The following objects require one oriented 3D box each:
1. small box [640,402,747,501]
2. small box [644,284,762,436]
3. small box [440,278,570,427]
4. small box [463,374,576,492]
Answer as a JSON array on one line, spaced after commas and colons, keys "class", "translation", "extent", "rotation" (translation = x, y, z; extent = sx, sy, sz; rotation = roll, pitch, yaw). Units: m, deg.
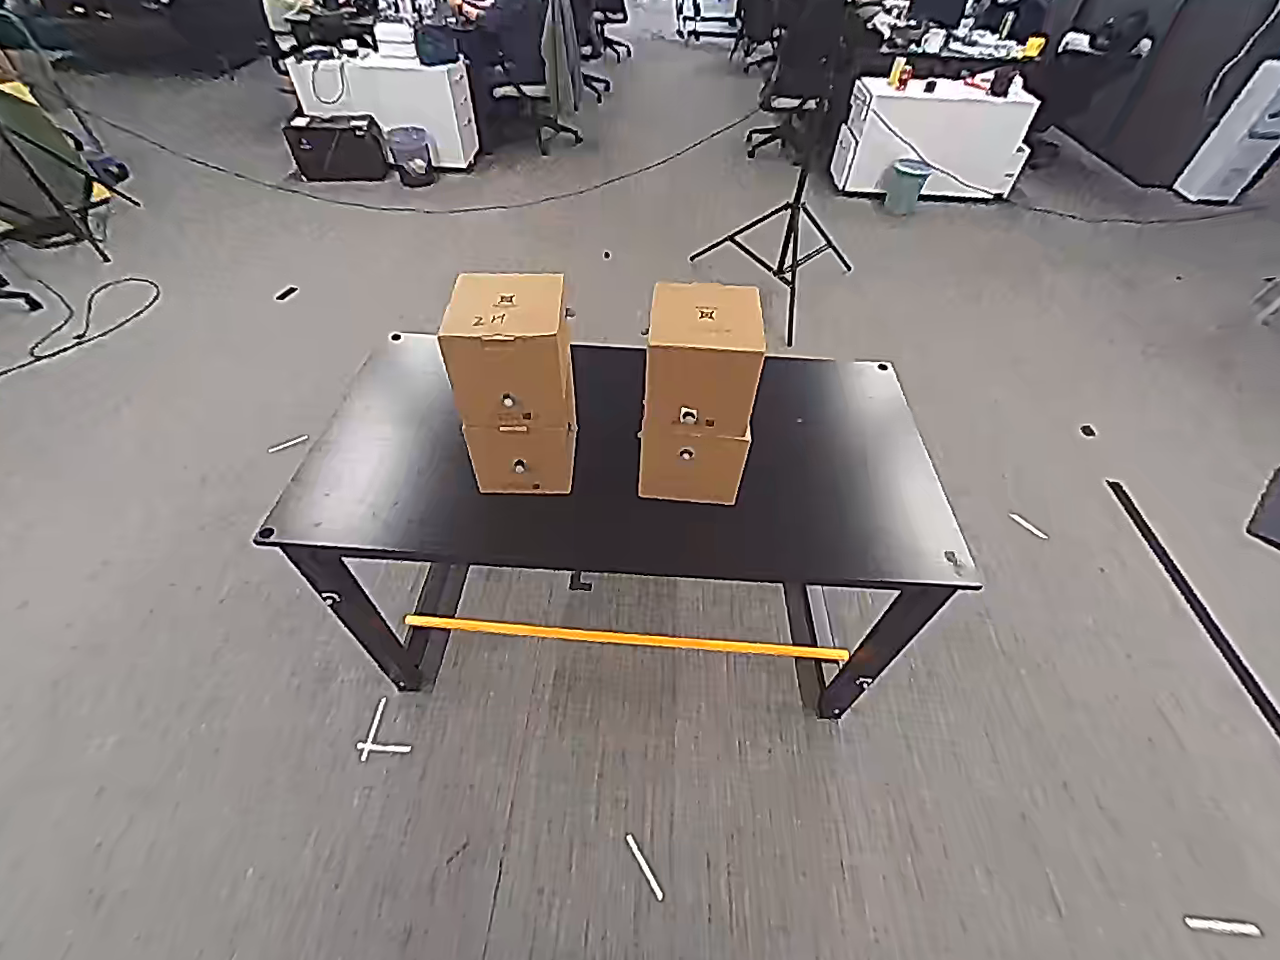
[{"class": "small box", "translation": [0.092, -0.077, 0.984], "extent": [0.179, 0.176, 0.168], "rotation": [5, 49, 1]}, {"class": "small box", "translation": [0.094, -0.191, 0.868], "extent": [0.168, 0.176, 0.179], "rotation": [3, 49, 2]}, {"class": "small box", "translation": [-0.202, -0.204, 0.866], "extent": [0.168, 0.176, 0.179], "rotation": [-1, 49, -2]}, {"class": "small box", "translation": [-0.207, -0.091, 0.988], "extent": [0.168, 0.176, 0.179], "rotation": [0, 49, -2]}]
